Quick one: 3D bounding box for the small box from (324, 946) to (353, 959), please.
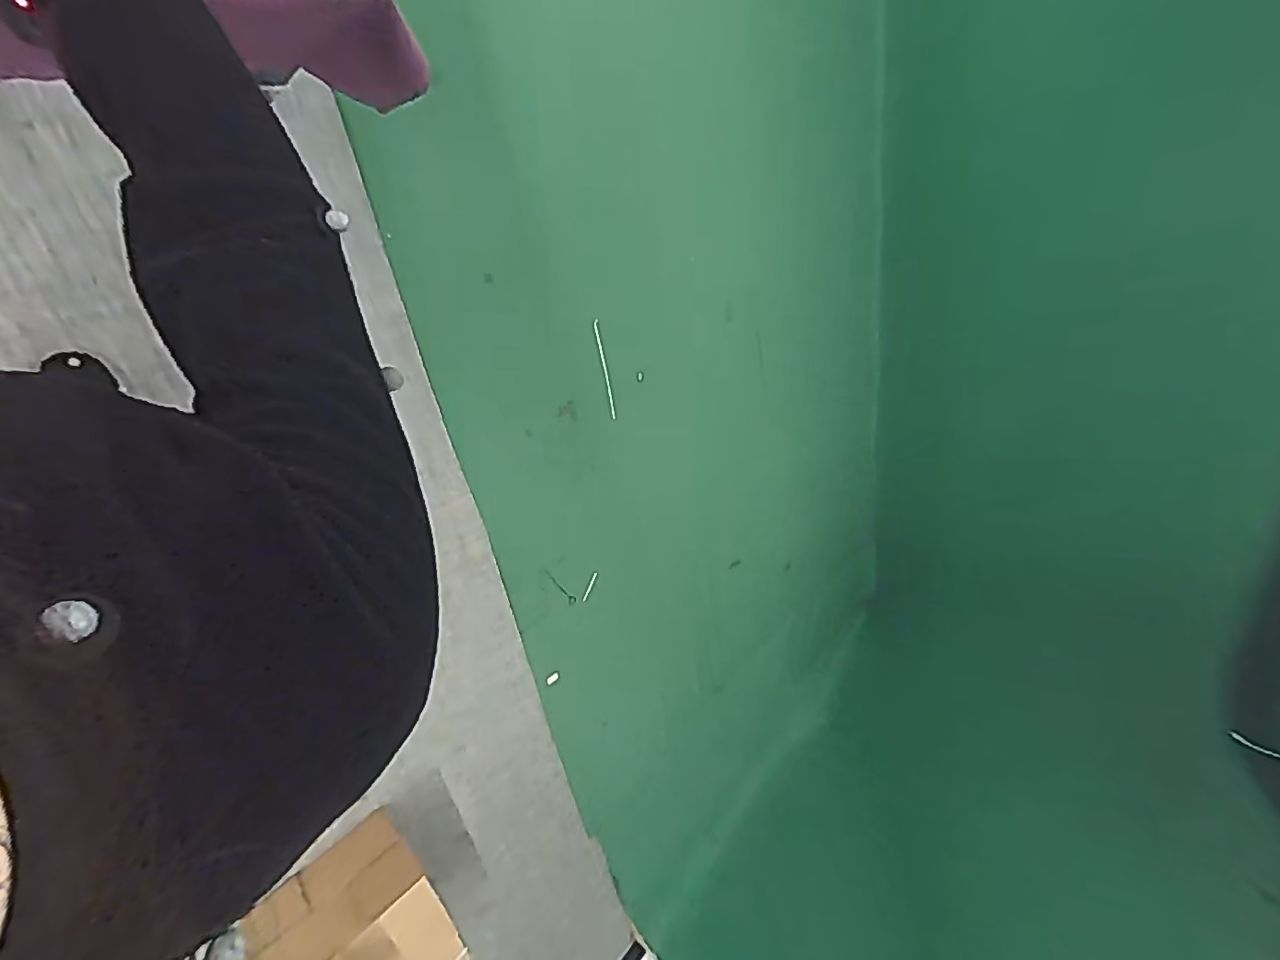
[{"bbox_3d":[-0.723,1.256,1.249,0.179,0.176,0.168,-30,122,-37],"label":"small box"}]
